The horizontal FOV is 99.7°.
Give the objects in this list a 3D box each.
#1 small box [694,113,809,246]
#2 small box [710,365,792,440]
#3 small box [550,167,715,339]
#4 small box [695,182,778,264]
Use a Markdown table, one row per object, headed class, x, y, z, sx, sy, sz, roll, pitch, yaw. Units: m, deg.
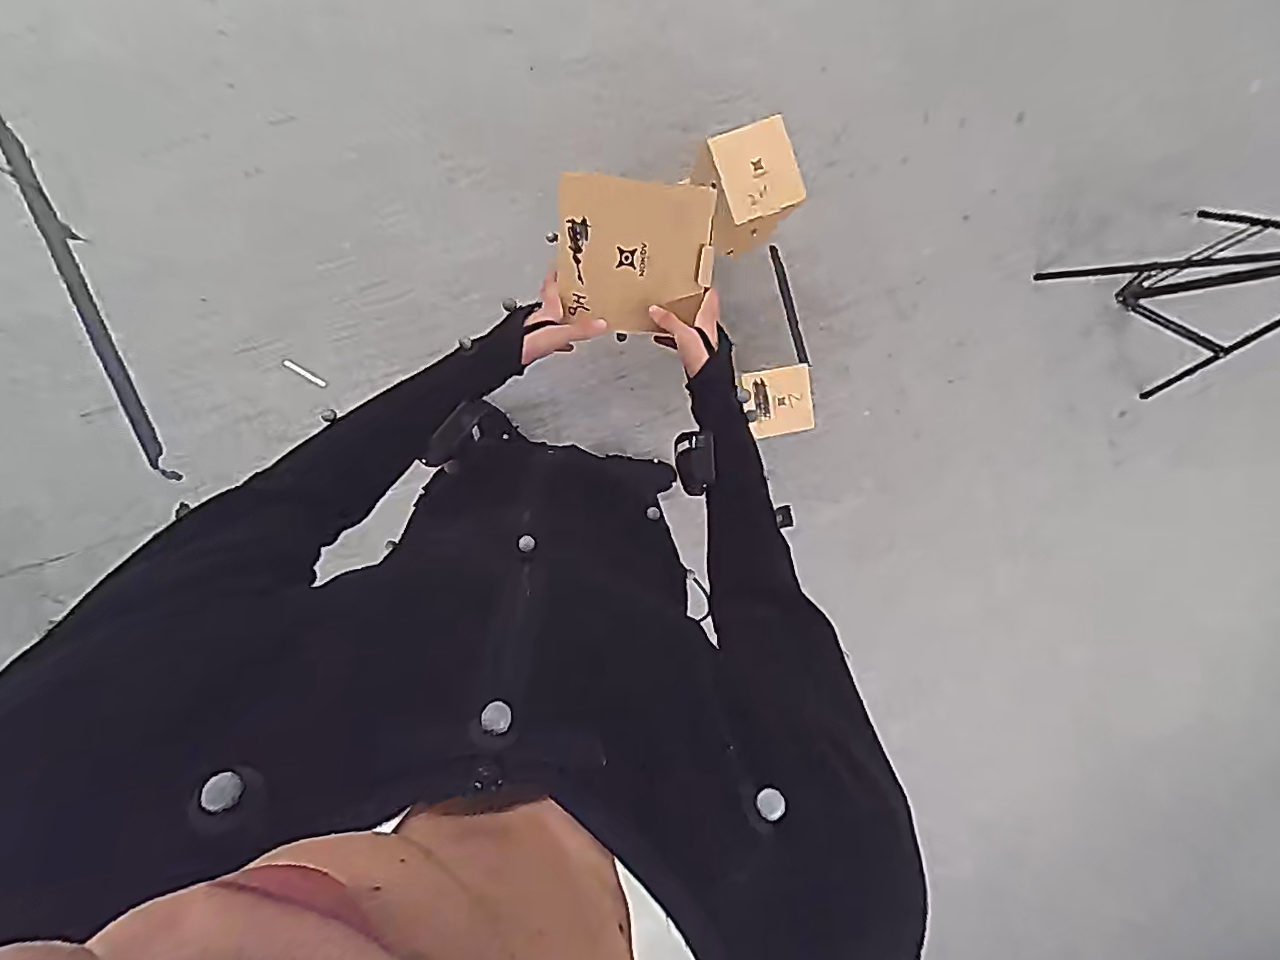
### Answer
| class | x | y | z | sx | sy | sz | roll | pitch | yaw |
| --- | --- | --- | --- | --- | --- | --- | --- | --- | --- |
| small box | 0.232 | -0.635 | 1.163 | 0.168 | 0.176 | 0.179 | -22 | 100 | -4 |
| small box | 0.315 | -0.225 | 1.571 | 0.168 | 0.176 | 0.179 | -17 | 101 | -5 |
| small box | -0.019 | -0.273 | 0.677 | 0.179 | 0.176 | 0.168 | 3 | 108 | -7 |
| small box | 0.214 | -0.644 | 1.326 | 0.179 | 0.176 | 0.168 | -14 | 99 | -5 |
